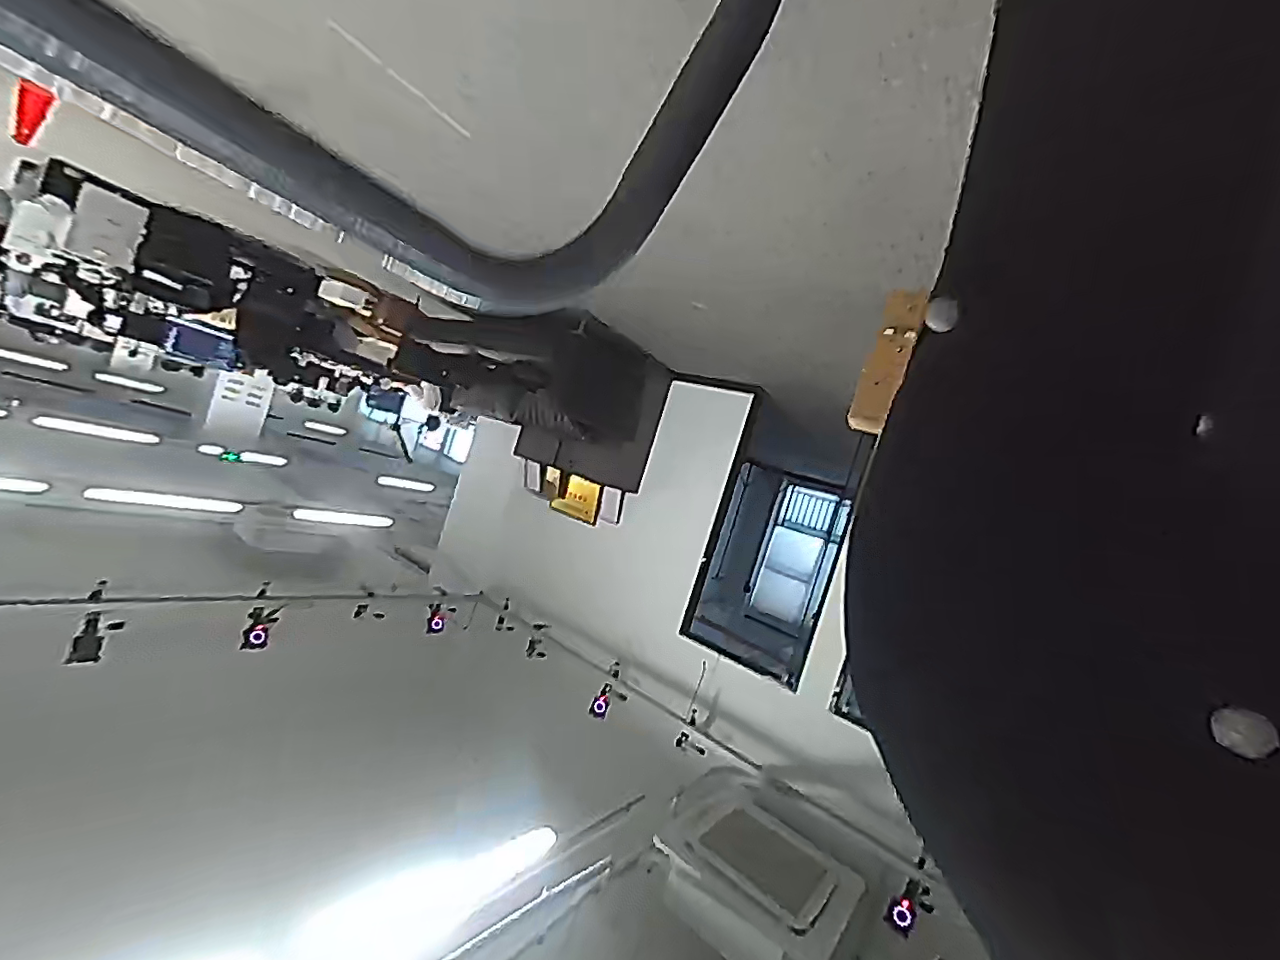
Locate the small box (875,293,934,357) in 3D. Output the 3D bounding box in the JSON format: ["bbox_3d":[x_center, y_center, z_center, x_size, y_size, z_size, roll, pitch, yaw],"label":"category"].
[{"bbox_3d":[0.986,-0.579,2.030,0.168,0.176,0.179,16,178,22],"label":"small box"}]

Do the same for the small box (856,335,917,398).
[{"bbox_3d":[0.932,-0.428,2.038,0.168,0.176,0.179,19,180,28],"label":"small box"}]
